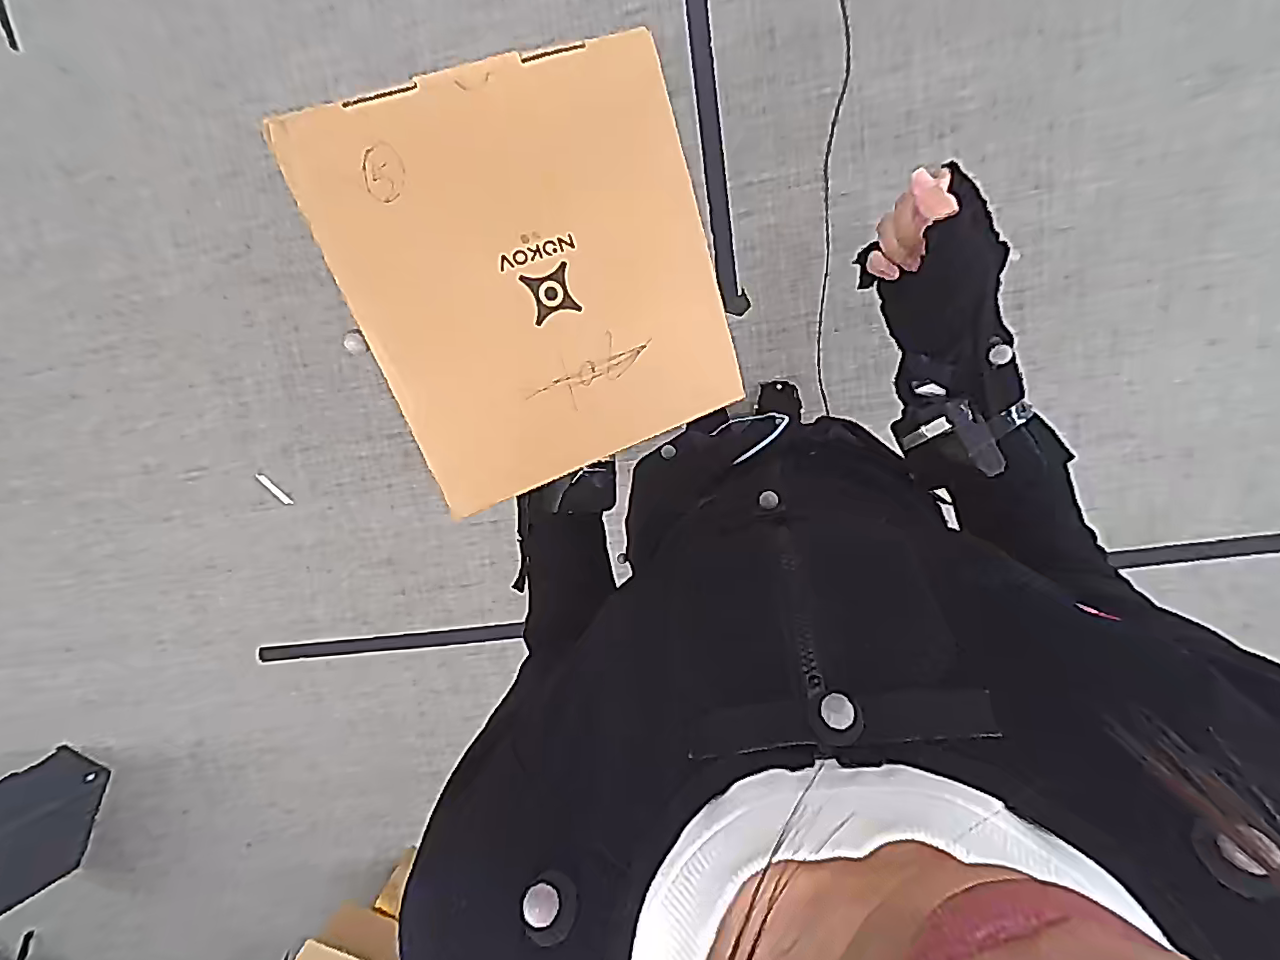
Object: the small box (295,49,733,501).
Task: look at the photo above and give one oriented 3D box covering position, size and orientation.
[{"bbox_3d":[-0.071,-0.113,0.336,0.168,0.176,0.179,-24,111,-12],"label":"small box"}]
